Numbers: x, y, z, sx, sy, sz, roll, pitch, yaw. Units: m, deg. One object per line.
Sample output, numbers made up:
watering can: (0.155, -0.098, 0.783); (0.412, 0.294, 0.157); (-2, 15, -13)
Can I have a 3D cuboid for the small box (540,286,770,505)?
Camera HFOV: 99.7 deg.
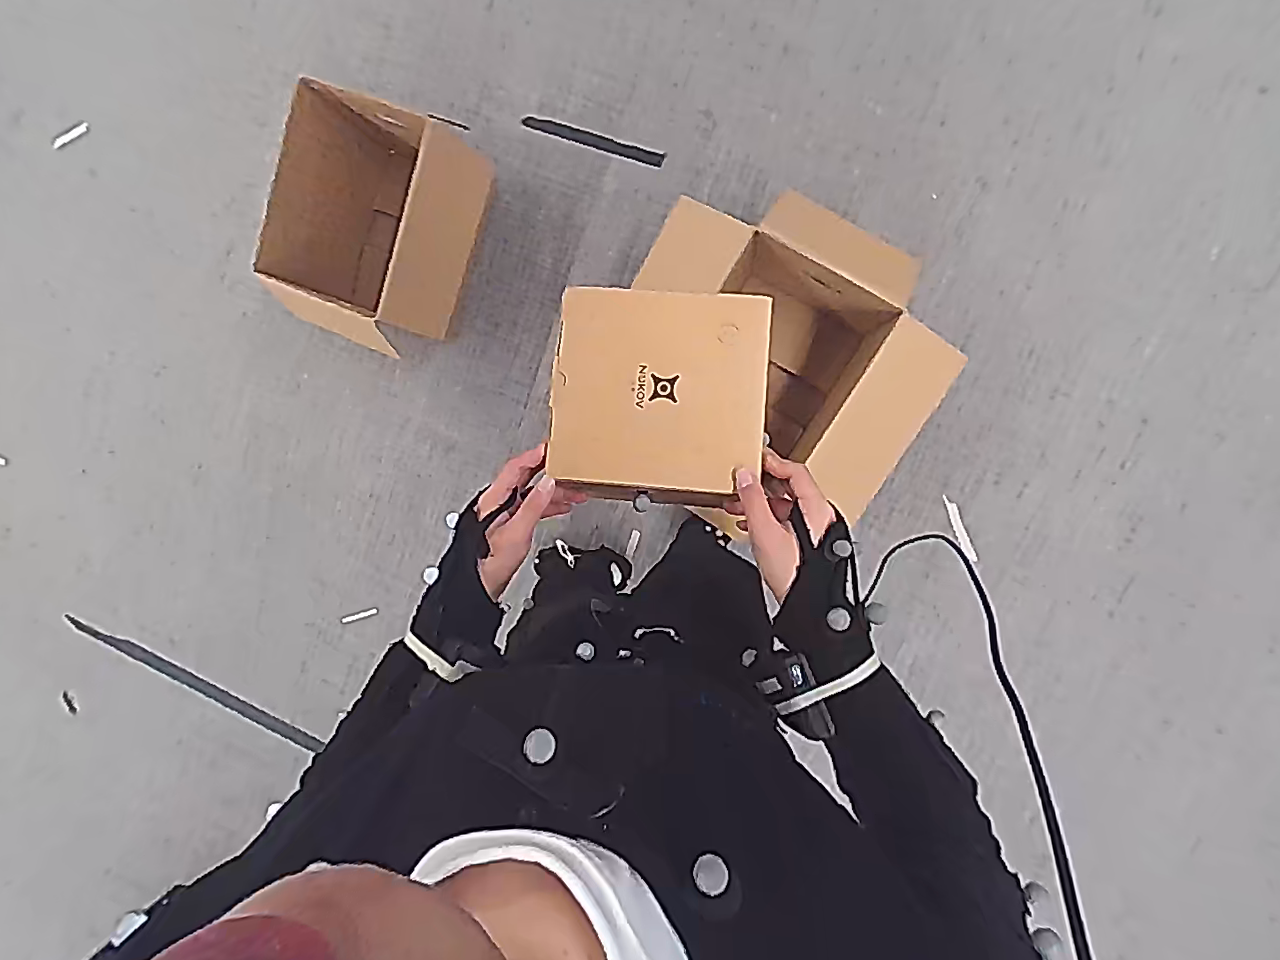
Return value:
small box: (0.018, -0.066, 0.513); (0.179, 0.176, 0.168); (4, 84, 5)
